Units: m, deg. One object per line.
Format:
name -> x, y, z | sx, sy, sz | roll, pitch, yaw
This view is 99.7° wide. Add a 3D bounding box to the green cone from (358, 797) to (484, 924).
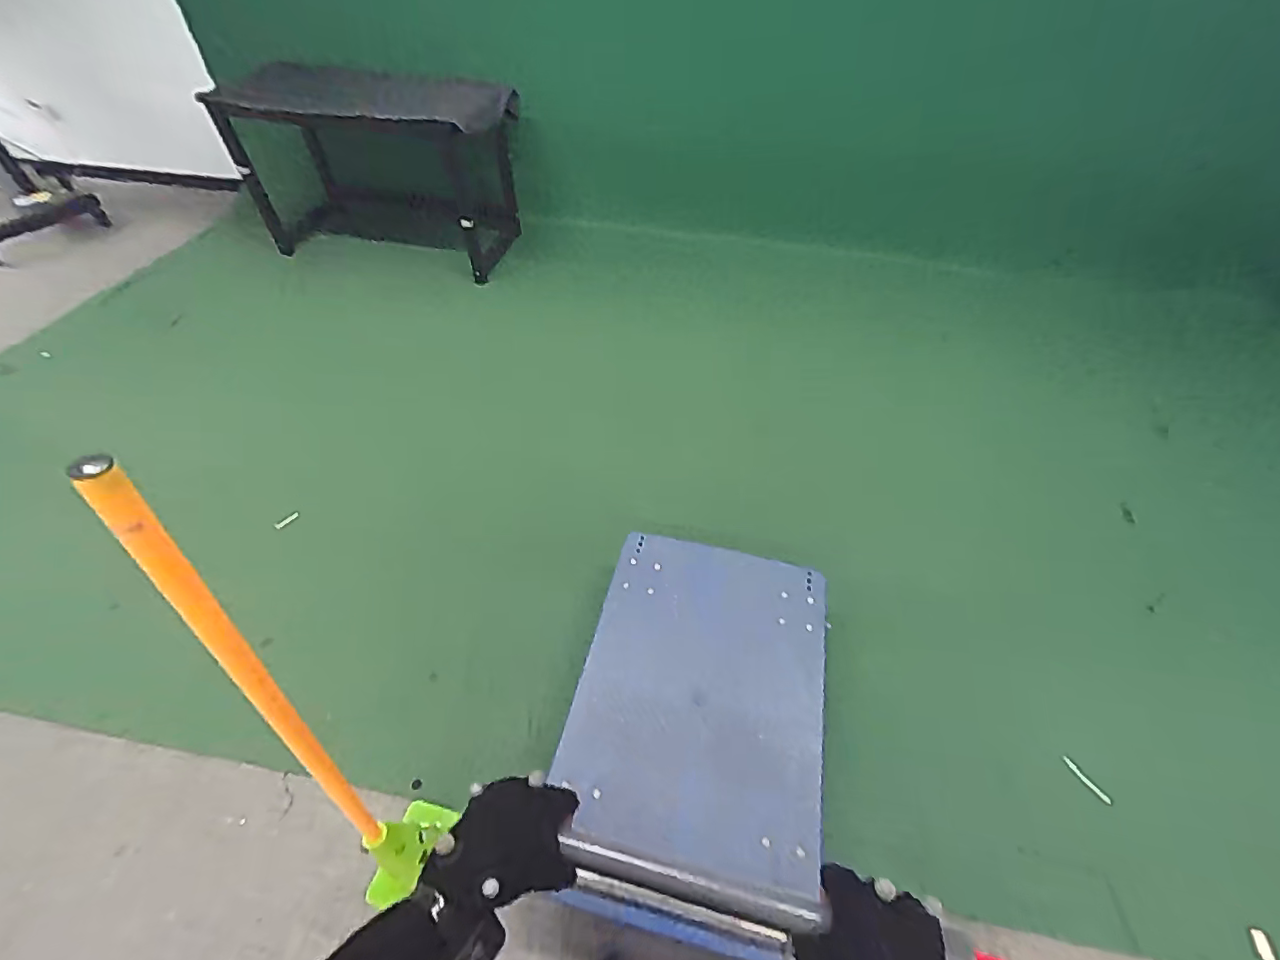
green cone -> -0.469, 0.722, 1.074 | 0.202, 0.368, 0.200 | 12, 48, 9
